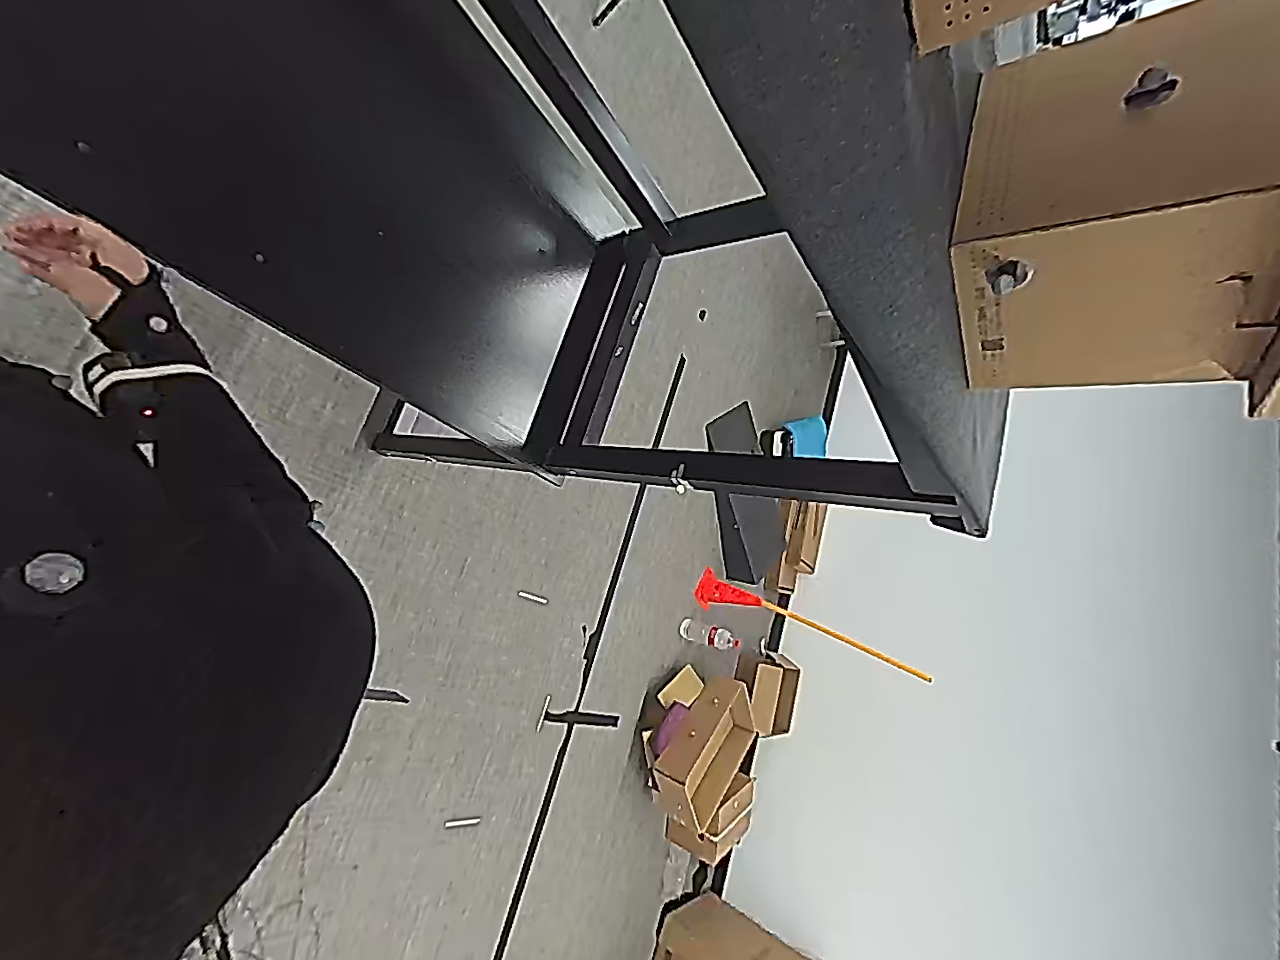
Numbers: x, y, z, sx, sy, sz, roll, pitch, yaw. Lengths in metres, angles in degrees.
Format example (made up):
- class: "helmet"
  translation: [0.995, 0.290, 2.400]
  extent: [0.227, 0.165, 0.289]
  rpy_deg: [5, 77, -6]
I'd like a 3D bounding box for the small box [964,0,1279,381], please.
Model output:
- class: "small box"
  translation: [0.337, -0.185, 0.385]
  extent: [0.168, 0.176, 0.179]
  rpy_deg: [41, 61, -47]
